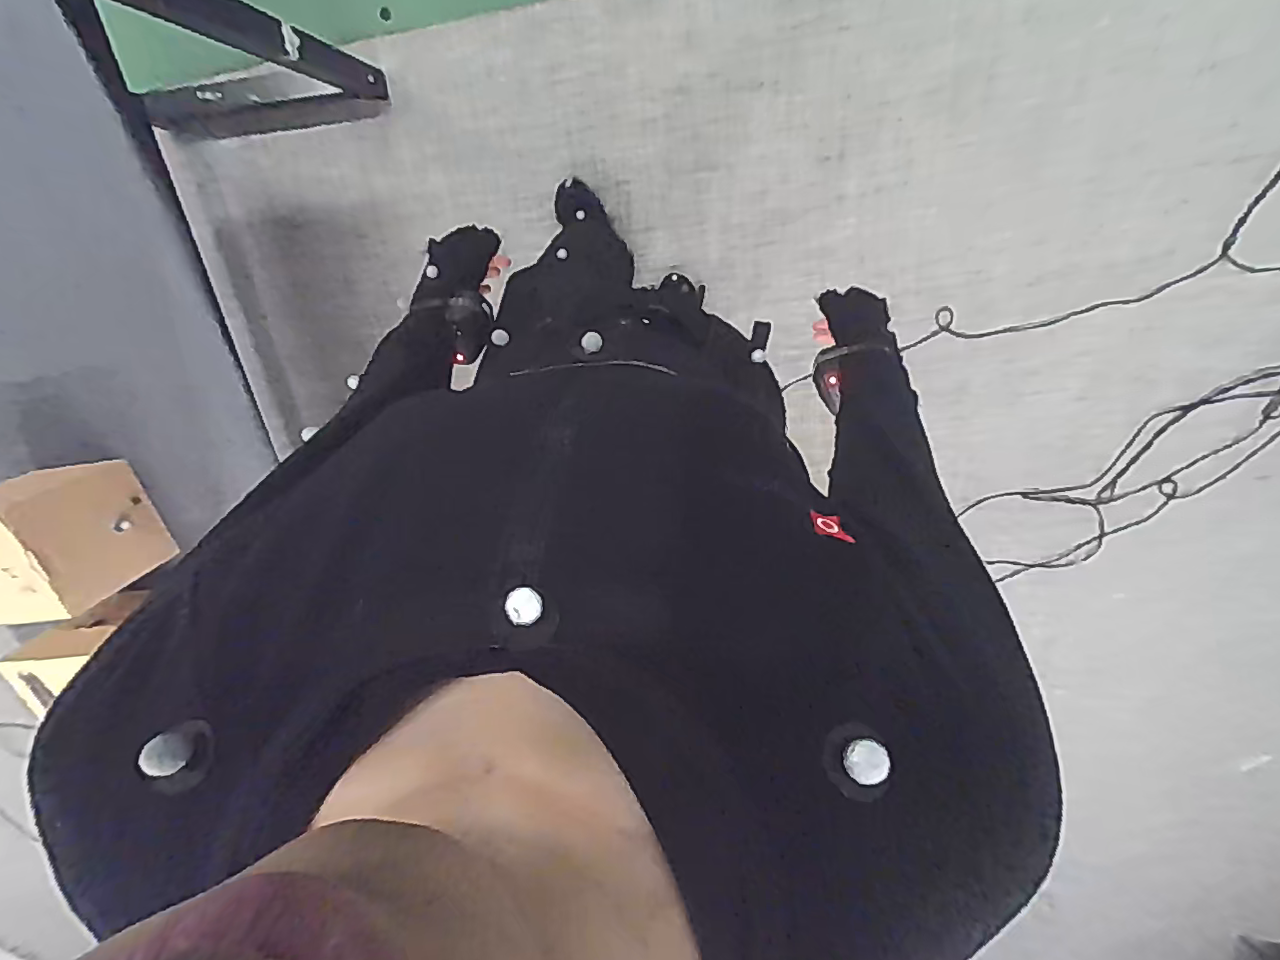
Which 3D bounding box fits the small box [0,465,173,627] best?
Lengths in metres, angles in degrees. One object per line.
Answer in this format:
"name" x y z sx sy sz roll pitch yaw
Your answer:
"small box" -0.840 0.089 0.770 0.179 0.176 0.168 -6 114 9
